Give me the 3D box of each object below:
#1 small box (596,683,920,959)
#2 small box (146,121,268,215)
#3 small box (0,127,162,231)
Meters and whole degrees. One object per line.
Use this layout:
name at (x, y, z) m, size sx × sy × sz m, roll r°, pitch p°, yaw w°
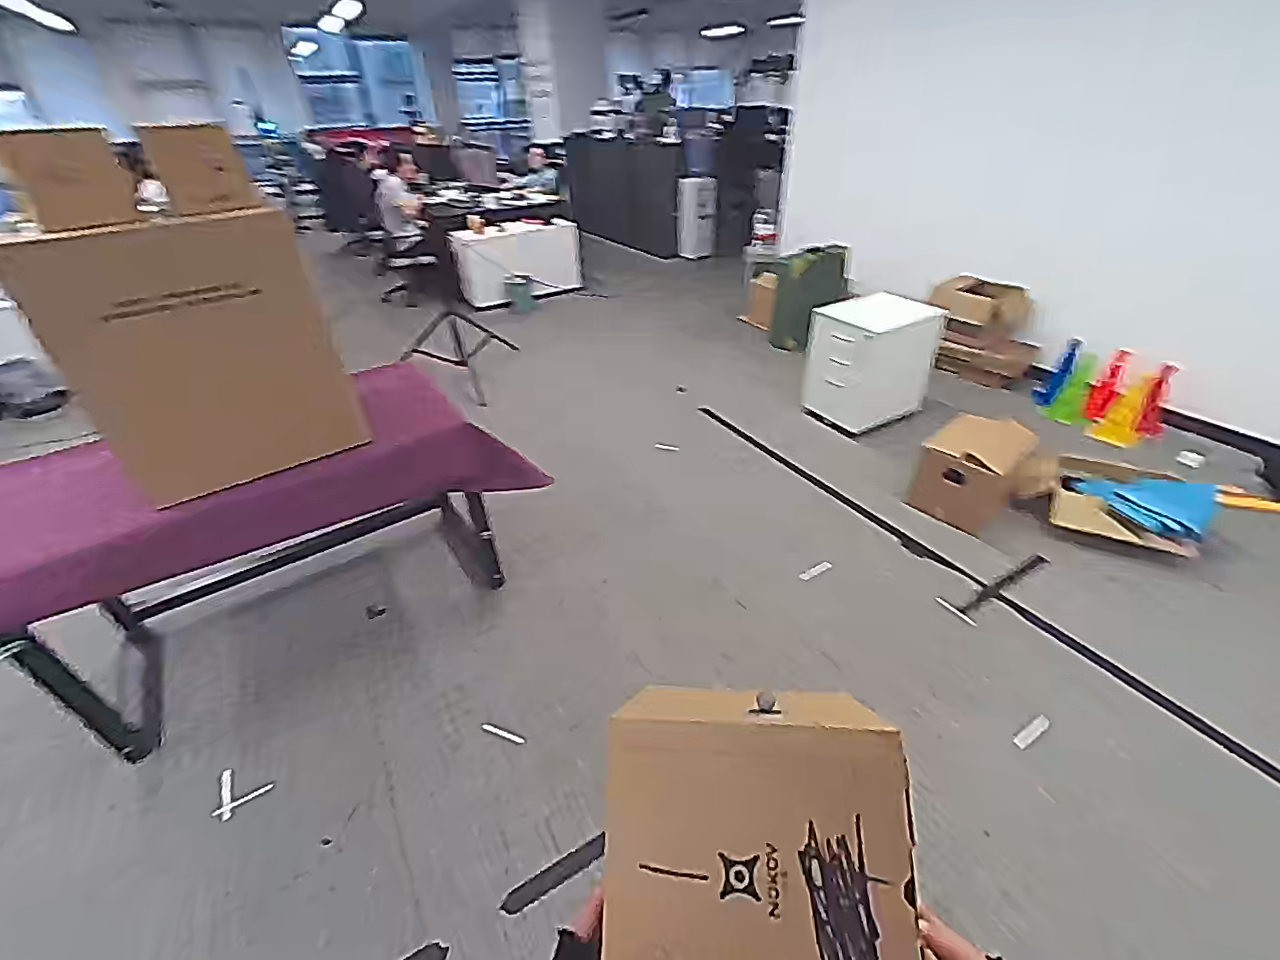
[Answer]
small box at (0.073, 0.239, 0.381) m, size 0.179 × 0.176 × 0.168 m, roll -2°, pitch 74°, yaw 9°
small box at (-0.975, -0.707, 1.226) m, size 0.168 × 0.176 × 0.179 m, roll -24°, pitch 41°, yaw -28°
small box at (-1.149, -0.622, 1.113) m, size 0.168 × 0.176 × 0.179 m, roll 26°, pitch 43°, yaw 31°
